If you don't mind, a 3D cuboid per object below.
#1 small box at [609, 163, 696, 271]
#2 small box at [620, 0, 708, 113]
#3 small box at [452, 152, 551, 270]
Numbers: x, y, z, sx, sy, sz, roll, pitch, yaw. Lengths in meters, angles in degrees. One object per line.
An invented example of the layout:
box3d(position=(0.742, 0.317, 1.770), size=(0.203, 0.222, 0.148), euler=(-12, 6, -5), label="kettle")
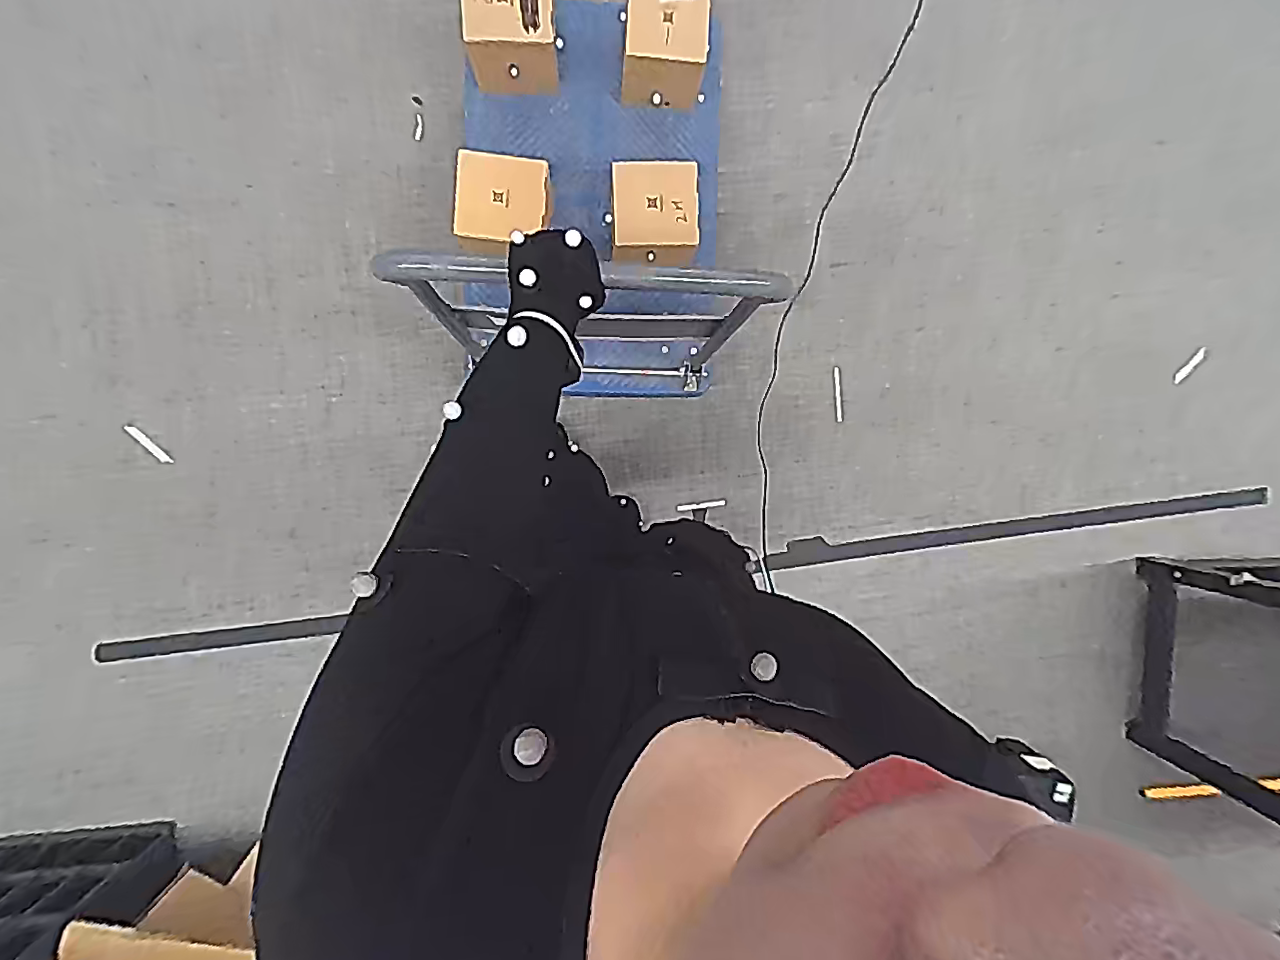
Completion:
box3d(position=(0.022, -0.562, 1.174), size=(0.179, 0.176, 0.168), euler=(-2, 94, -5), label="small box")
box3d(position=(0.045, -0.928, 1.150), size=(0.168, 0.176, 0.179), euler=(3, 95, -5), label="small box")
box3d(position=(-0.287, -0.560, 1.149), size=(0.179, 0.176, 0.168), euler=(4, 93, -7), label="small box")
